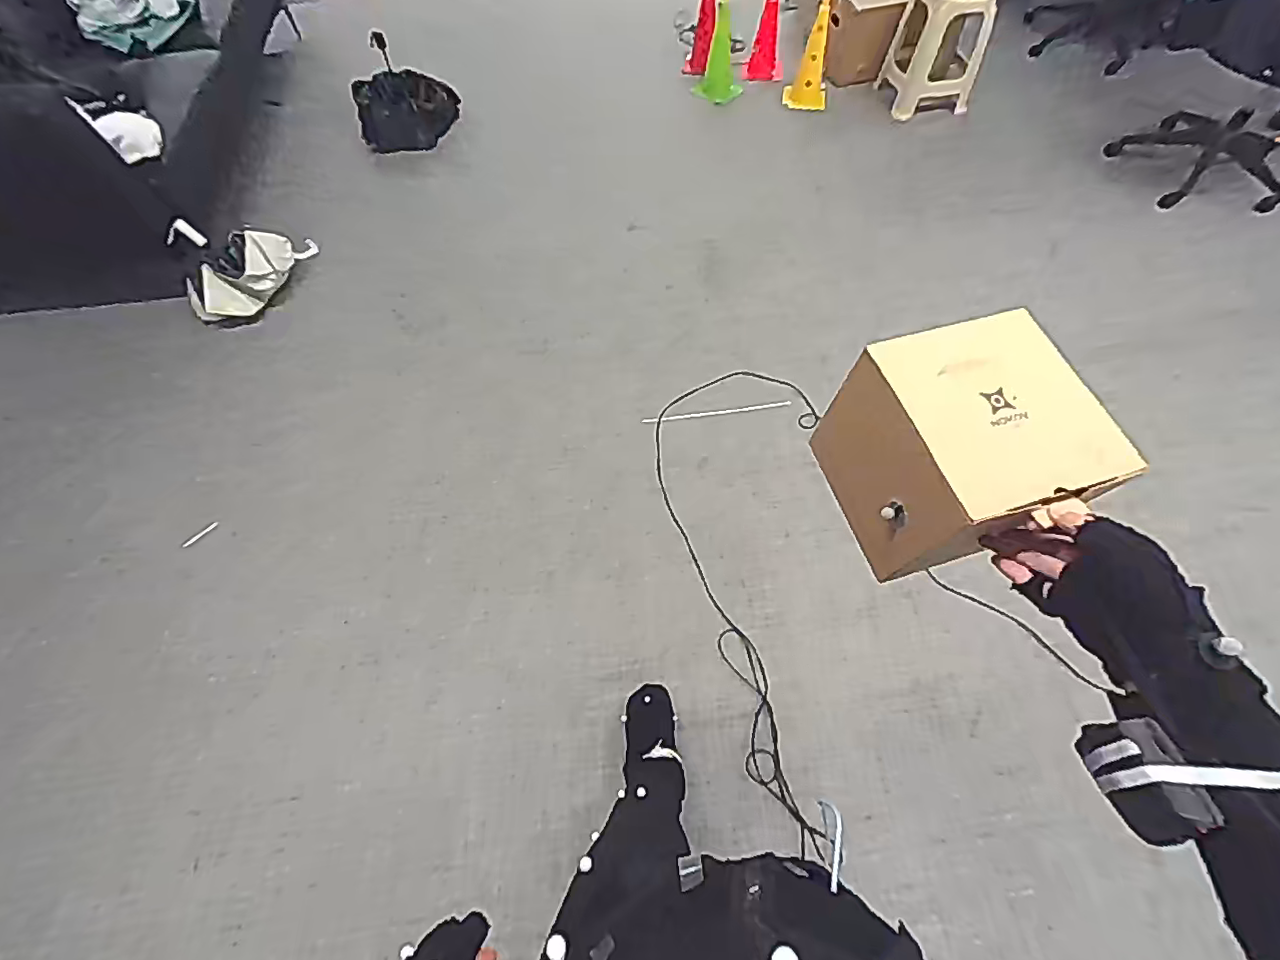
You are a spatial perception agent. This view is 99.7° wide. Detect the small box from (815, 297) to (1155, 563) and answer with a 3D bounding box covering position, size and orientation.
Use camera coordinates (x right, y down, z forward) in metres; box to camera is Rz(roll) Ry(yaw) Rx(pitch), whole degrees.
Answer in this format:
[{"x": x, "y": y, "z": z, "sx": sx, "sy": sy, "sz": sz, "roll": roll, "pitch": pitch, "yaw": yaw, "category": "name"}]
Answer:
[{"x": 0.293, "y": -0.034, "z": 0.509, "sx": 0.168, "sy": 0.176, "sz": 0.179, "roll": -15, "pitch": 65, "yaw": -9, "category": "small box"}]
